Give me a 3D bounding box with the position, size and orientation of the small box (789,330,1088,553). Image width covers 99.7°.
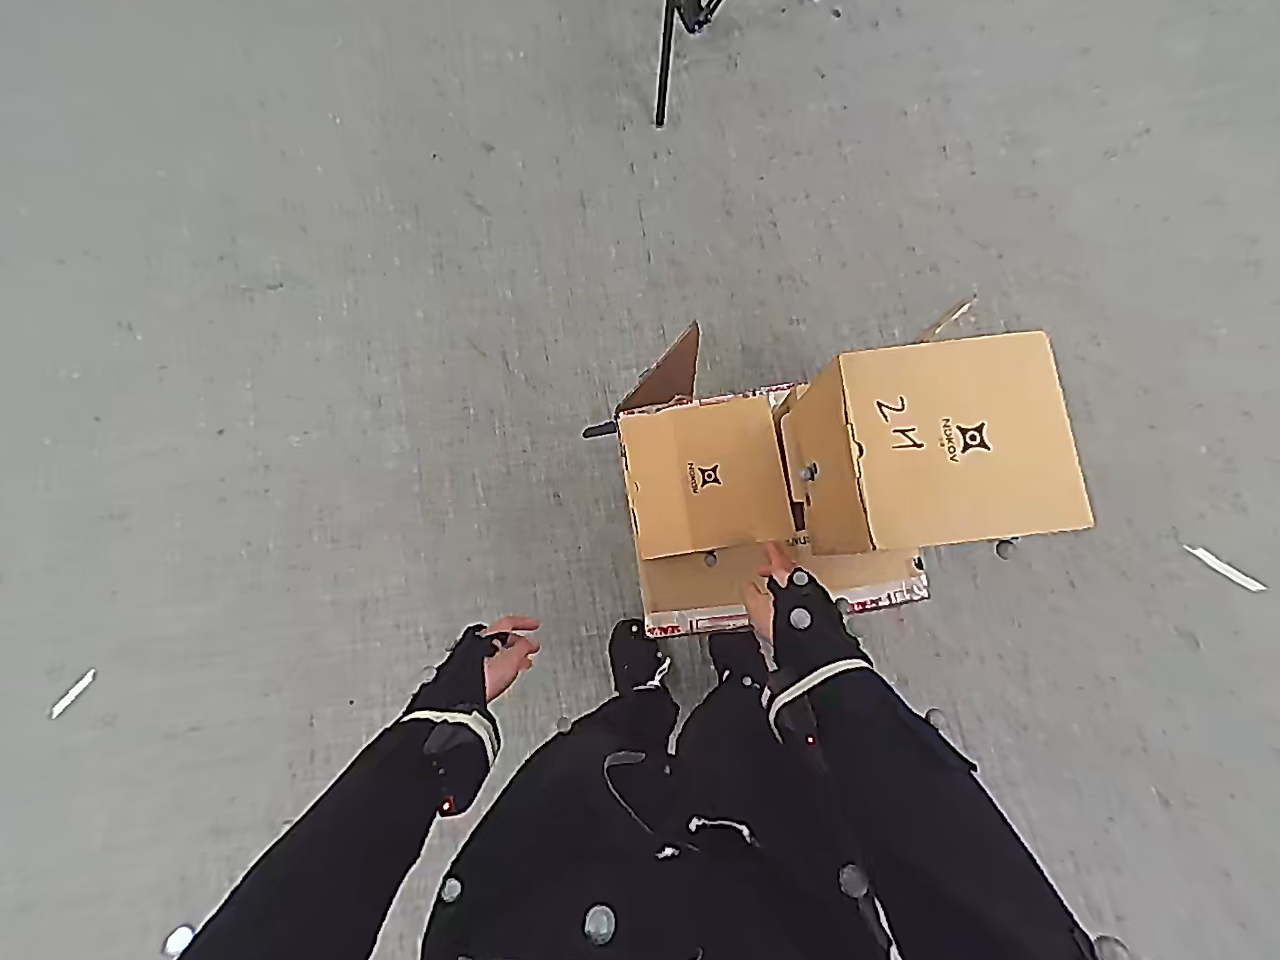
[{"bbox_3d":[0.256,-0.022,0.510,0.179,0.176,0.168,-7,80,1],"label":"small box"}]

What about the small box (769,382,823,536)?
[{"bbox_3d":[0.264,-0.020,0.676,0.179,0.176,0.168,-3,81,1],"label":"small box"}]
